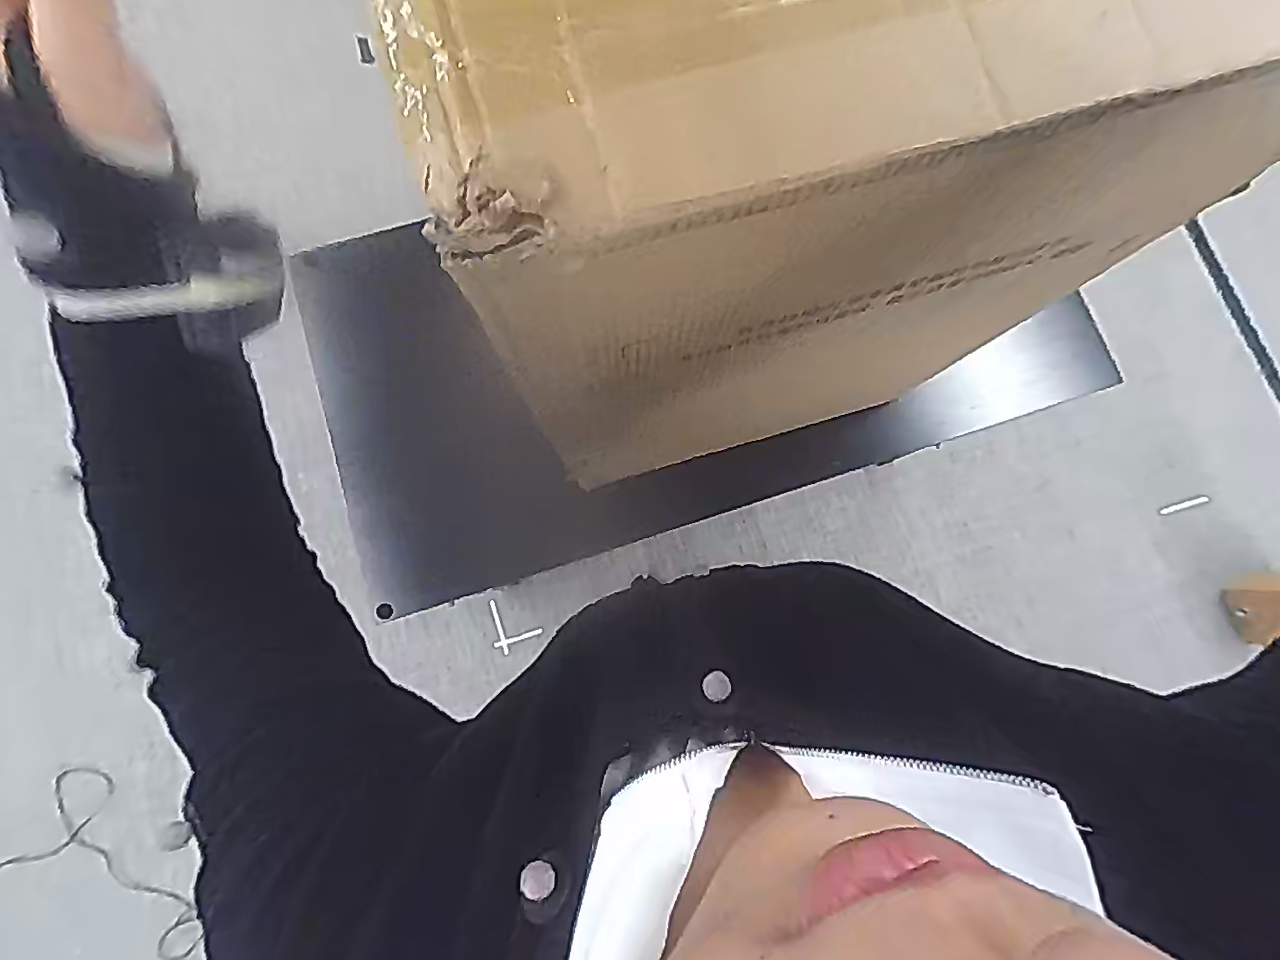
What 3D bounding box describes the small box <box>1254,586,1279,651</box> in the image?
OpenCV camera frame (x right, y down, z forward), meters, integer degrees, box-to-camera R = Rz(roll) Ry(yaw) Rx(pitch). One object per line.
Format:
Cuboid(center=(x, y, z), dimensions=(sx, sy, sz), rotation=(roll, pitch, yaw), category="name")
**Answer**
Cuboid(center=(1.774, 0.353, 1.389), dimensions=(0.179, 0.176, 0.168), rotation=(-18, 82, -3), category="small box")
